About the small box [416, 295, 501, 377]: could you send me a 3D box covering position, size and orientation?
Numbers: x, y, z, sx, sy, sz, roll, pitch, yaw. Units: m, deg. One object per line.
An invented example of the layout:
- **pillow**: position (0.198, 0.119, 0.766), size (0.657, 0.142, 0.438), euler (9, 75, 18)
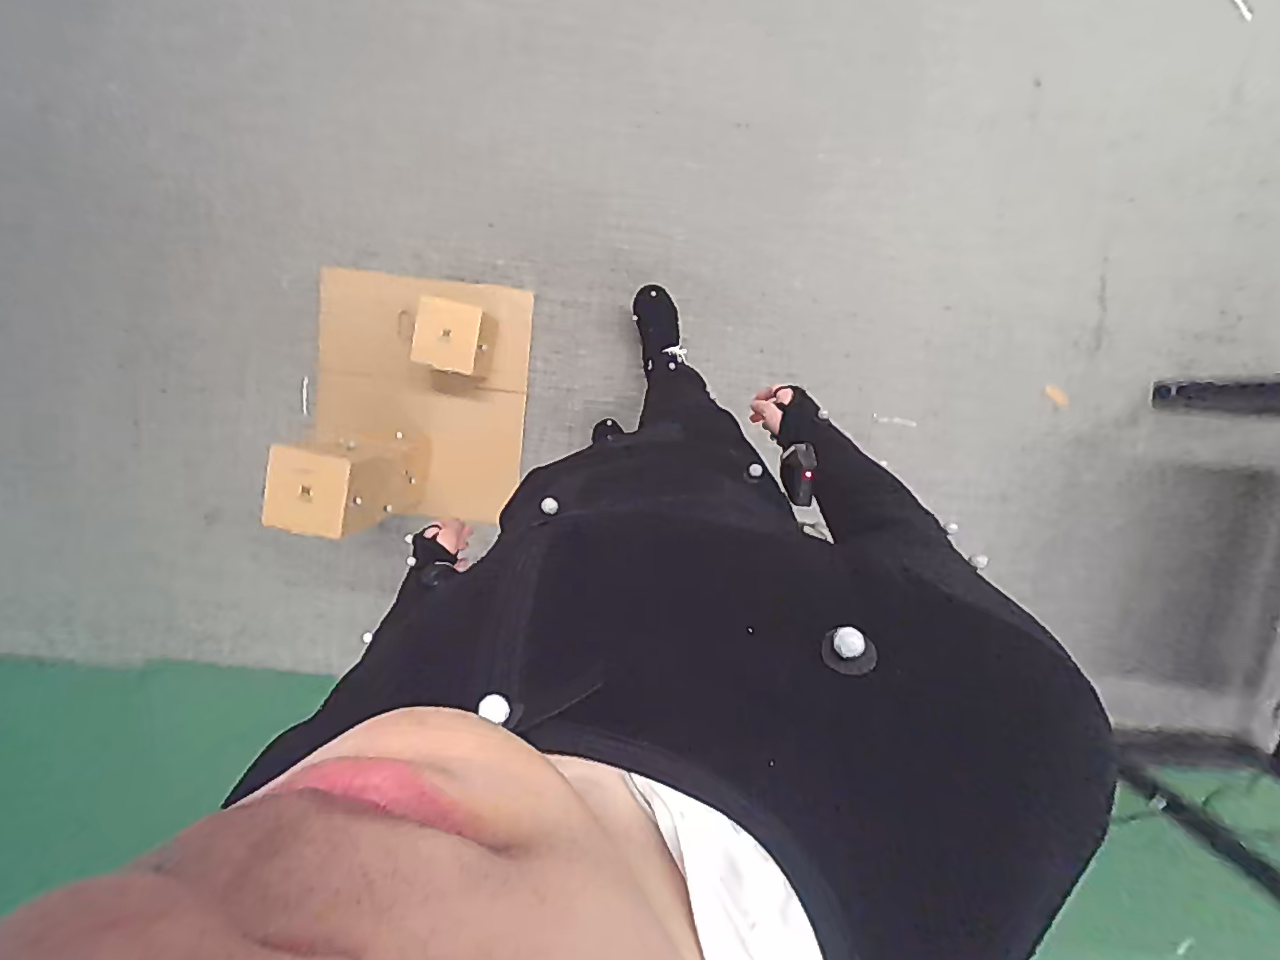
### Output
- **small box**: position (-0.491, -0.389, 1.486), size (0.168, 0.176, 0.179), euler (12, 99, -1)

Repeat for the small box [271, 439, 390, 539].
- **small box**: position (-0.685, 0.013, 1.214), size (0.168, 0.176, 0.179), euler (13, 98, -2)
